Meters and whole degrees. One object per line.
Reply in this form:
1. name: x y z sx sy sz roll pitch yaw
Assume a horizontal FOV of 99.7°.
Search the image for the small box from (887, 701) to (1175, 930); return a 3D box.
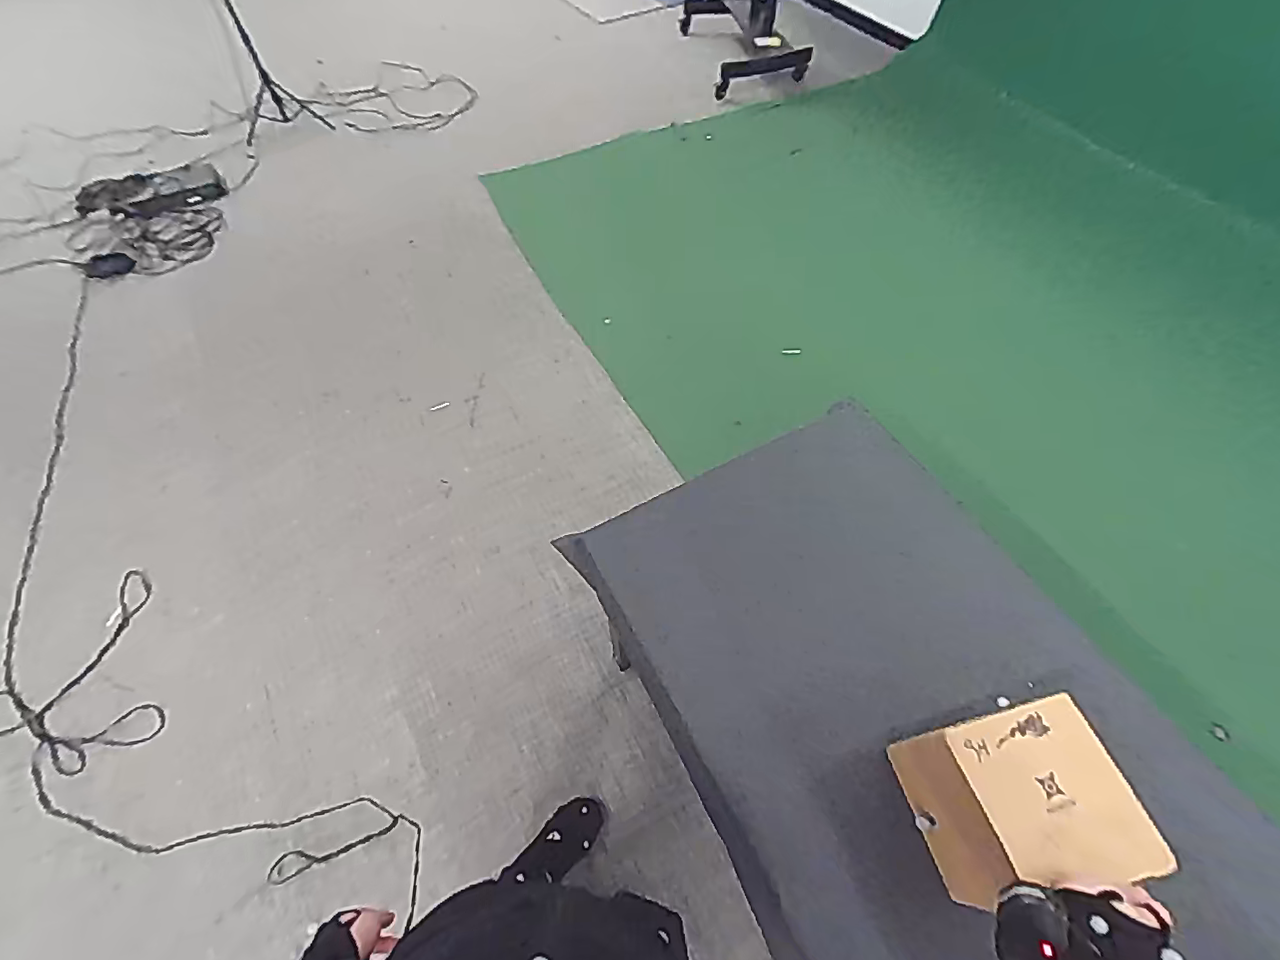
1. small box: 0.428 0.379 0.630 0.168 0.176 0.179 -11 59 -9
